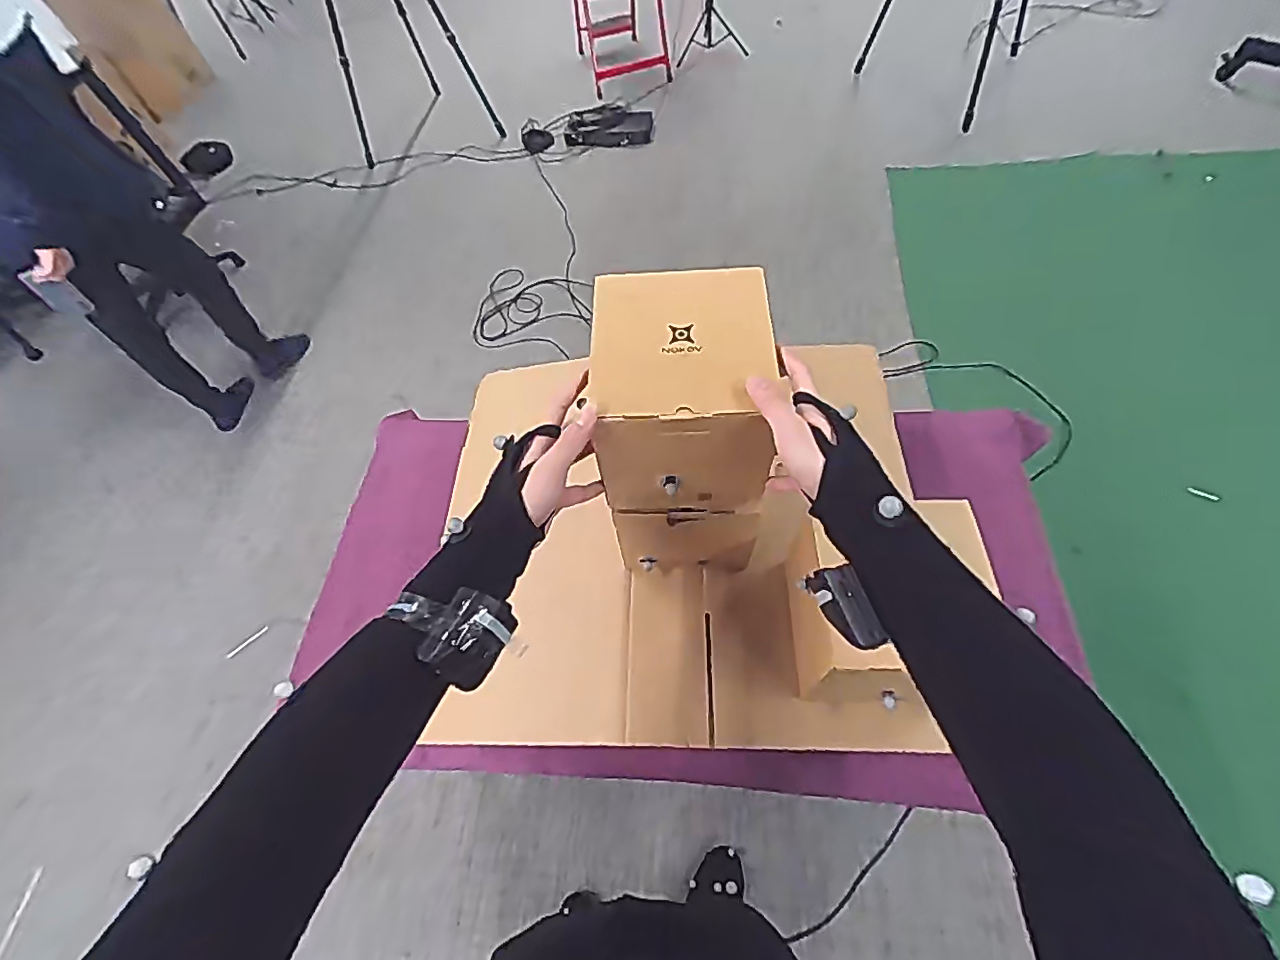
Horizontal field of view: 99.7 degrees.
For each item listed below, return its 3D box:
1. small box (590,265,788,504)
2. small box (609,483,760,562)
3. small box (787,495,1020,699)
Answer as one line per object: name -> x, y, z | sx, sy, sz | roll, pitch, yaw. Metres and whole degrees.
small box -> 0.044, -0.090, 0.551 | 0.168, 0.176, 0.179 | -2, 62, 3
small box -> 0.056, -0.003, 0.688 | 0.168, 0.176, 0.179 | -1, 59, 3
small box -> 0.263, 0.132, 0.592 | 0.168, 0.176, 0.179 | -1, 60, 5
